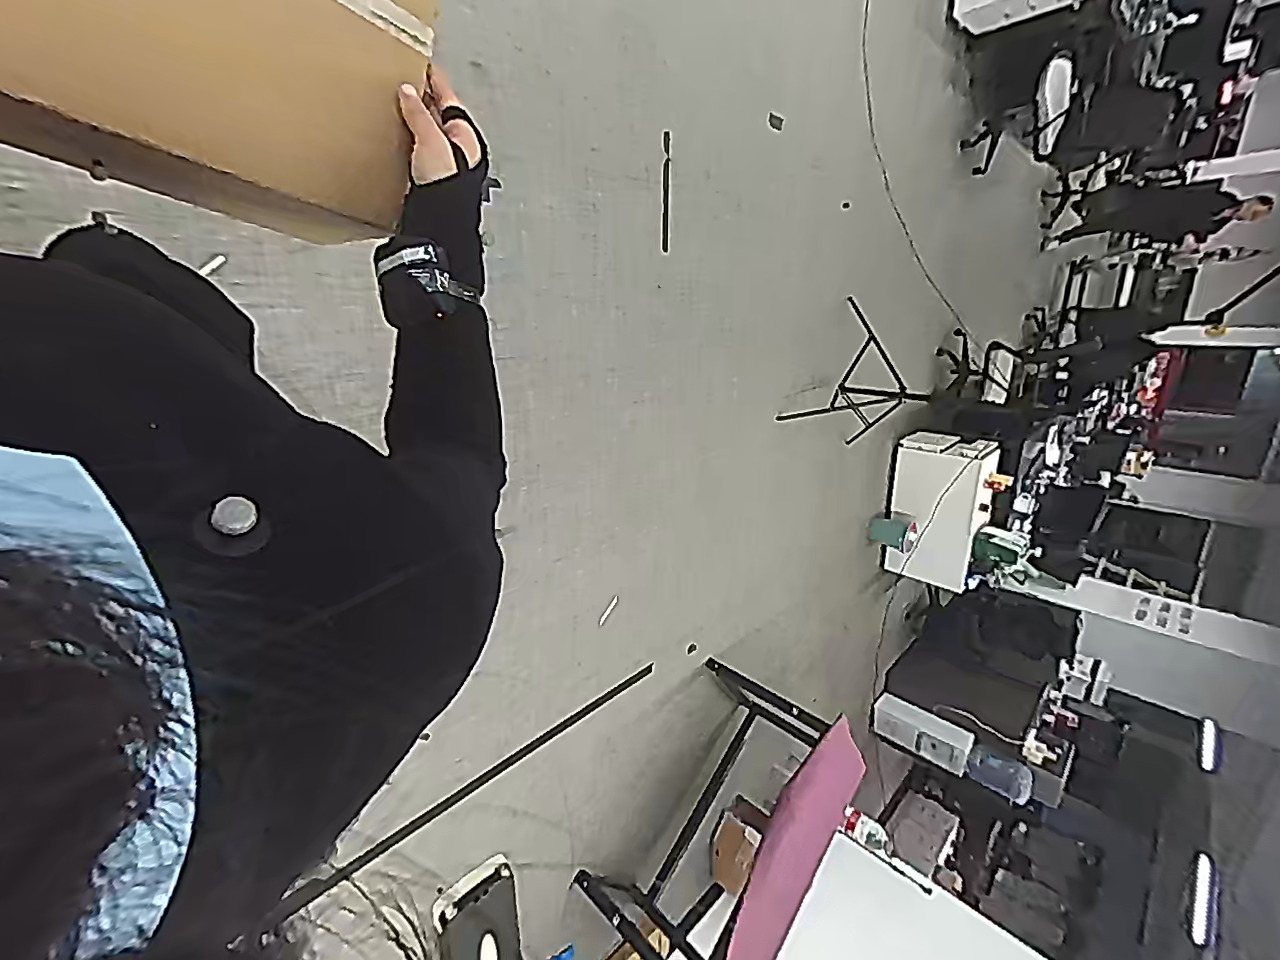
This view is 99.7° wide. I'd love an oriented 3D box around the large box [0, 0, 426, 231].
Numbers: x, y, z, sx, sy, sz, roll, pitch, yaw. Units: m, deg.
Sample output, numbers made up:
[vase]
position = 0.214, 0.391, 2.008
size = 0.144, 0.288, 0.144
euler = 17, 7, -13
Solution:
[large box]
position = -0.431, -0.431, 0.443
size = 0.408, 0.320, 0.320
euler = 5, 102, -43
